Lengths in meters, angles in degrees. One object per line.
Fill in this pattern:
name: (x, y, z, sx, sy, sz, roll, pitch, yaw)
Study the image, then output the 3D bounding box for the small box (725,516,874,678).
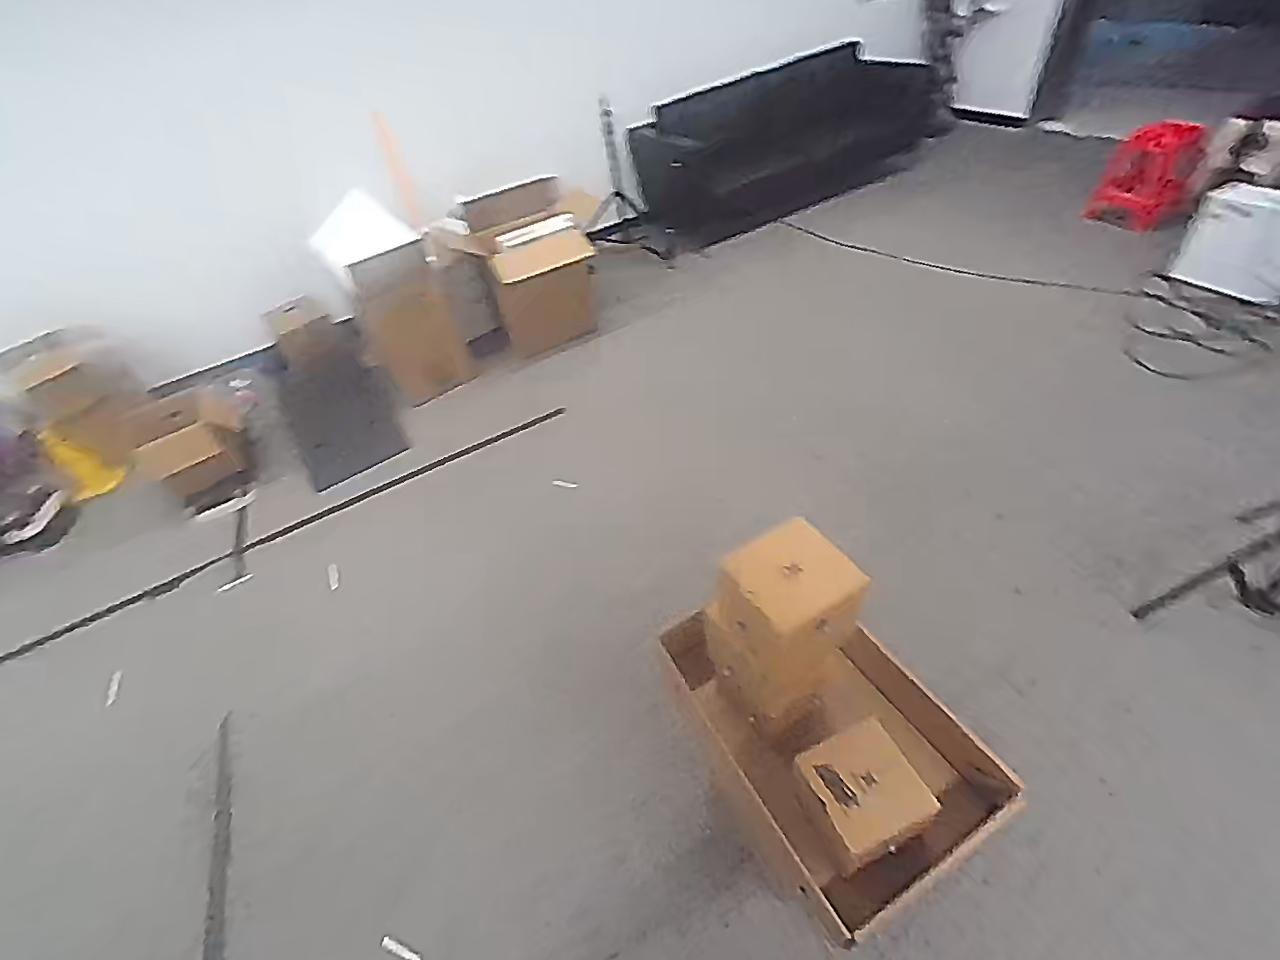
small box: (0.259, 0.200, 0.920, 0.179, 0.176, 0.168, -26, 48, -16)

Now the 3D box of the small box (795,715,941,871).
small box: (0.400, 0.569, 0.980, 0.179, 0.176, 0.168, -21, 44, -10)

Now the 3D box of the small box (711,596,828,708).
small box: (0.252, 0.303, 1.049, 0.179, 0.176, 0.168, -29, 48, -18)
